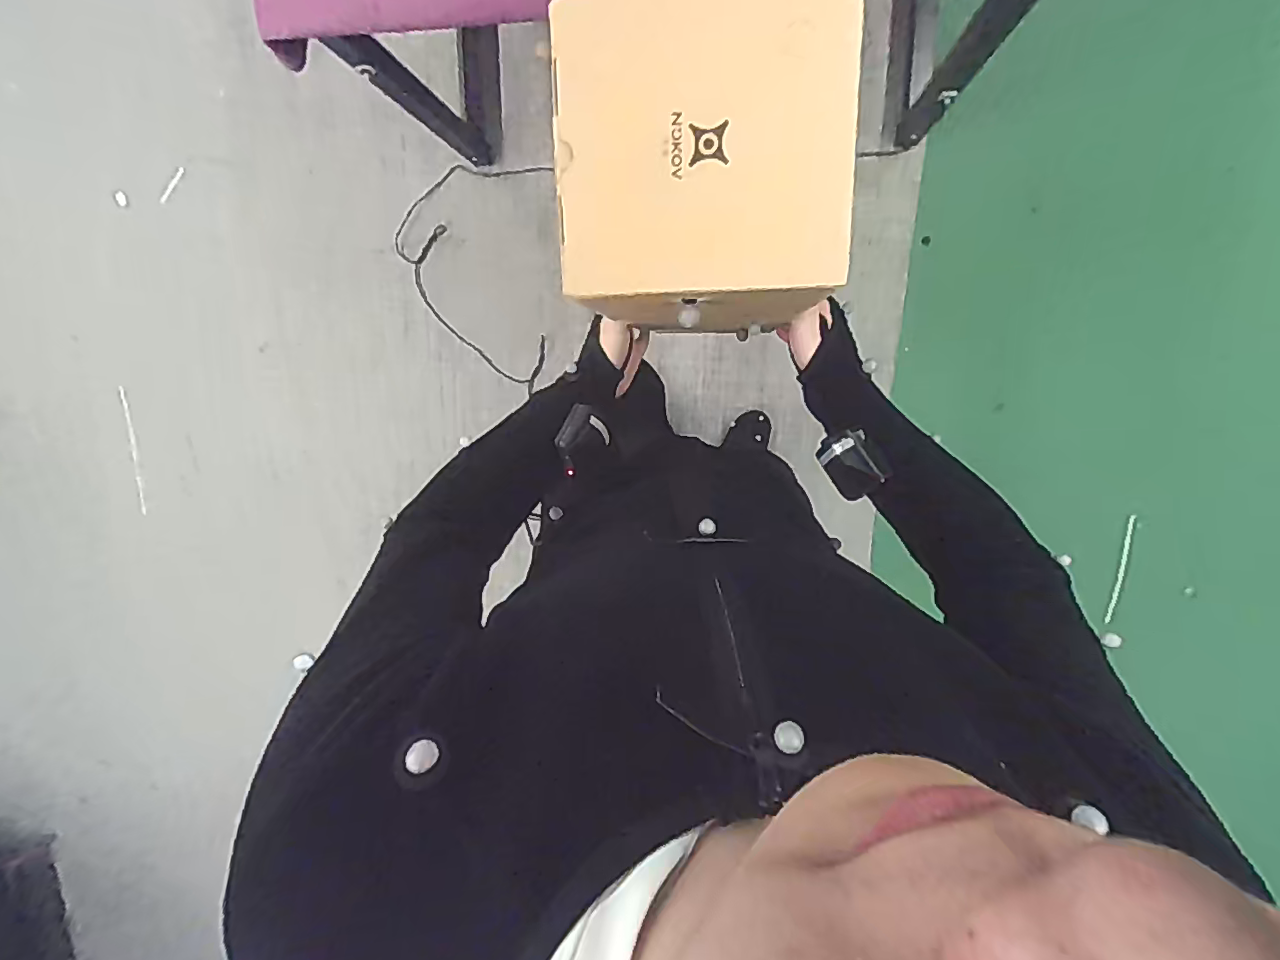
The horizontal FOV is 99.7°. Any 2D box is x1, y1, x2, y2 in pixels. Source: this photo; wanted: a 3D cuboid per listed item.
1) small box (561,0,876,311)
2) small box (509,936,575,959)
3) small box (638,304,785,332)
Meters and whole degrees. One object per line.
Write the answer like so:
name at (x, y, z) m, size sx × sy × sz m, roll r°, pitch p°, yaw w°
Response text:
small box at (0.052, -0.216, 0.391) m, size 0.179 × 0.176 × 0.168 m, roll 0°, pitch 102°, yaw 8°
small box at (-0.283, 1.388, 1.456) m, size 0.179 × 0.176 × 0.168 m, roll 9°, pitch 102°, yaw 7°
small box at (0.095, -0.286, 0.707) m, size 0.179 × 0.176 × 0.168 m, roll 2°, pitch 101°, yaw 8°
